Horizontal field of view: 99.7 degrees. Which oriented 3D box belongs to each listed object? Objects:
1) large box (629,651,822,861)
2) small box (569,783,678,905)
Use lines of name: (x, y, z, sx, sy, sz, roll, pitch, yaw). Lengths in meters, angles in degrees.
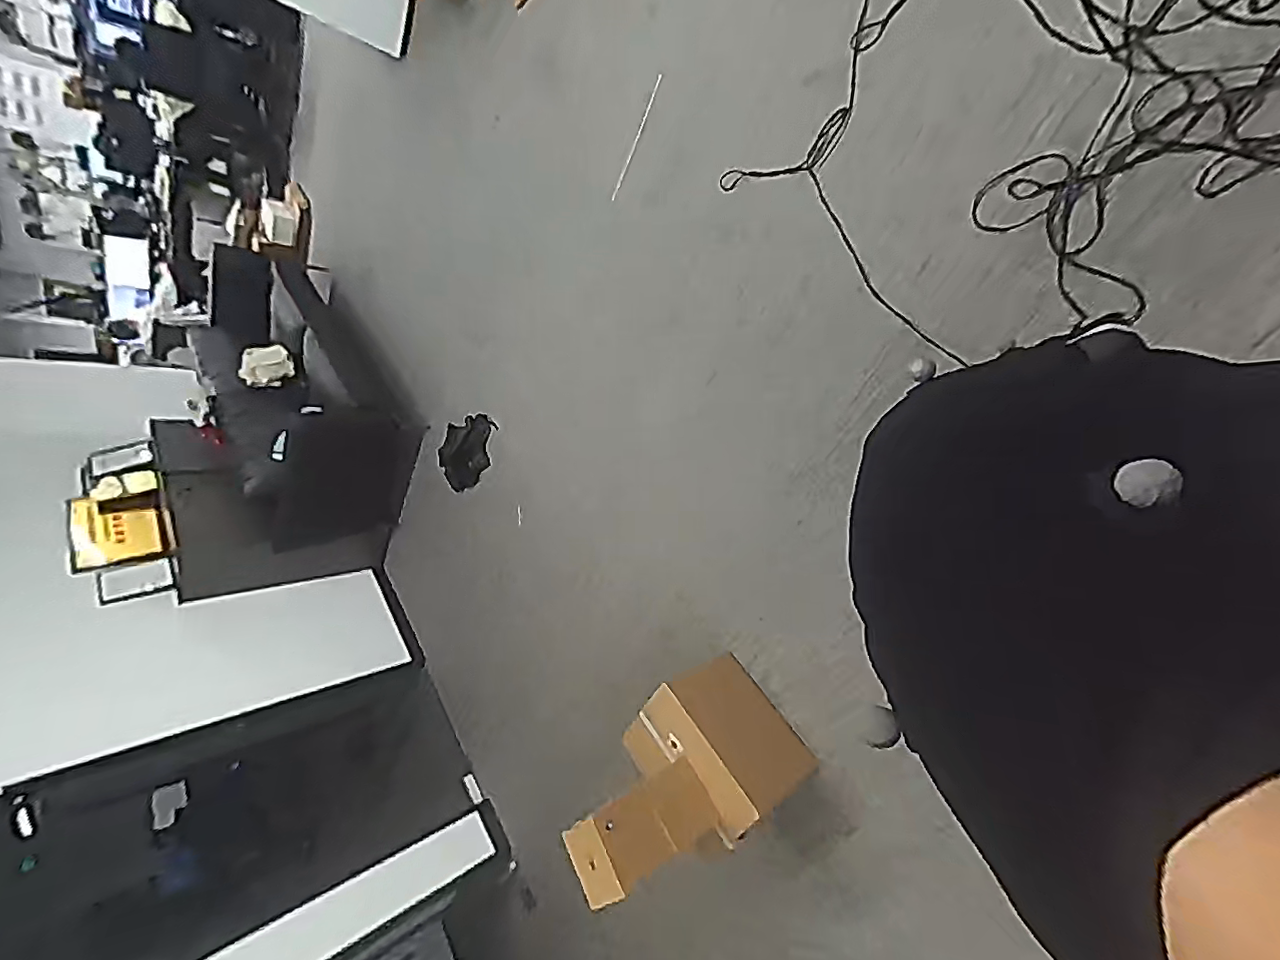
large box: (0.245, 0.794, 1.604, 0.408, 0.320, 0.320, 49, 124, 32)
small box: (-0.038, 0.882, 1.319, 0.168, 0.176, 0.179, -52, 58, 36)
